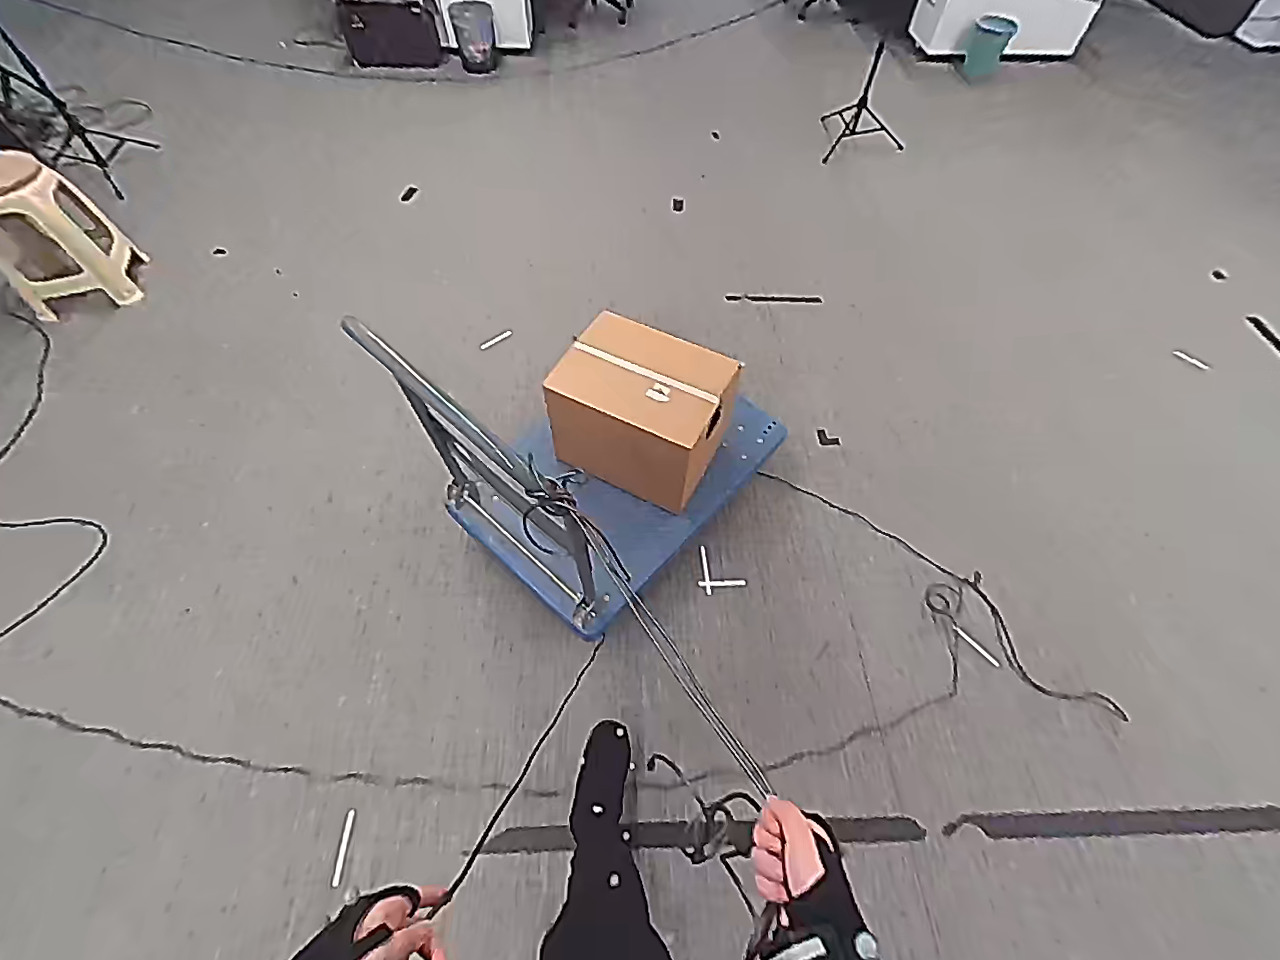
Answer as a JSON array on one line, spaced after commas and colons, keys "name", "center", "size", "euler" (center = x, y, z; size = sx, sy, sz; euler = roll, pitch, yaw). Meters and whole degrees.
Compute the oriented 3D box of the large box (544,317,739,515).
[{"name": "large box", "center": [0.000, -0.170, 1.459], "size": [0.408, 0.320, 0.320], "euler": [25, 60, 13]}]
